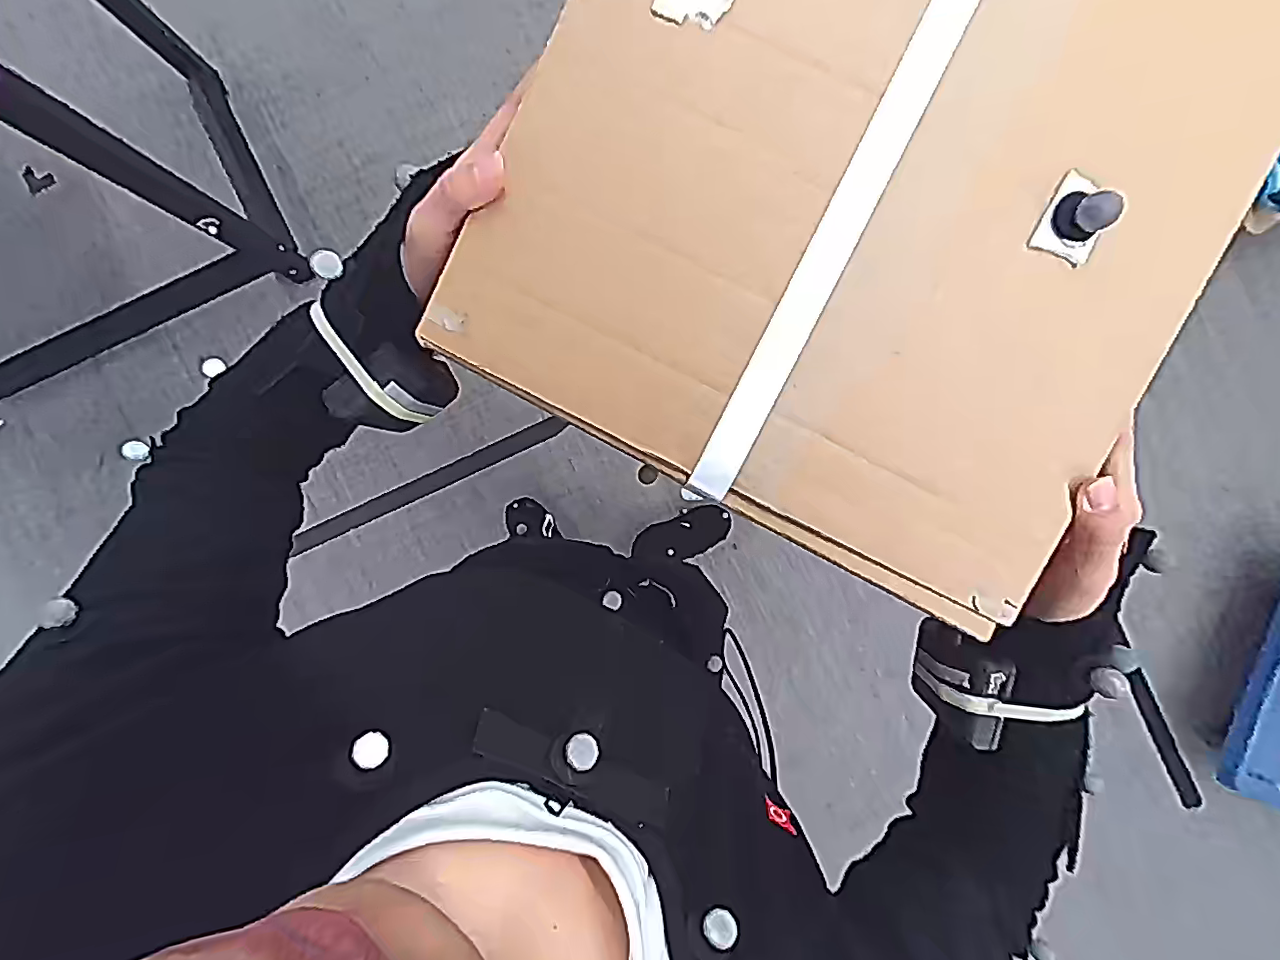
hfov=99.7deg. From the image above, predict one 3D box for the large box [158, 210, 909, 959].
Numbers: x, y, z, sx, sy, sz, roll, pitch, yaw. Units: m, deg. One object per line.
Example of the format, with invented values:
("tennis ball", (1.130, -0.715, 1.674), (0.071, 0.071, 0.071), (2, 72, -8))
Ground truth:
("large box", (-0.043, 0.078, 0.393), (0.320, 0.320, 0.408), (-4, 111, 43))
